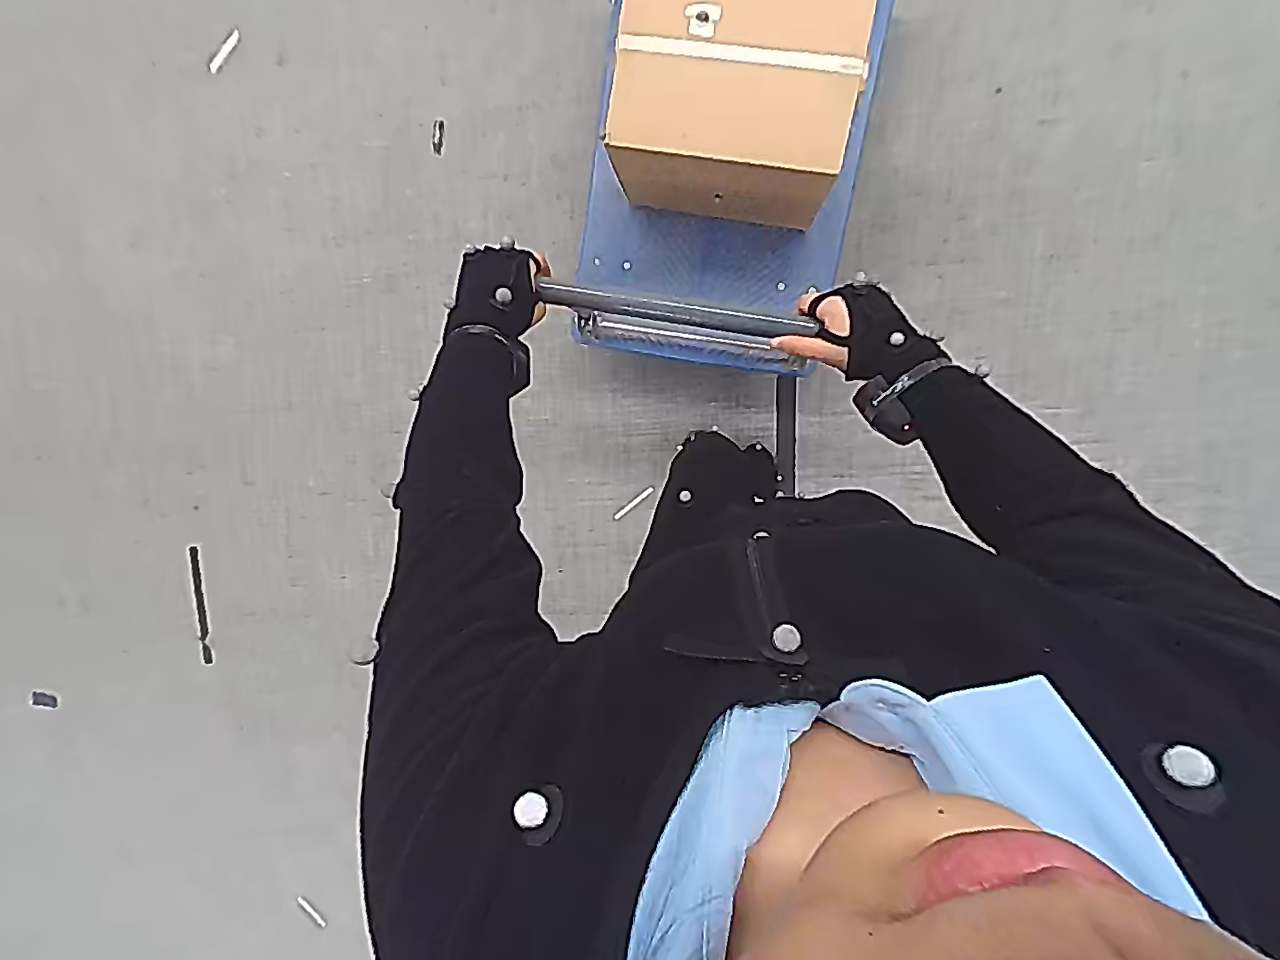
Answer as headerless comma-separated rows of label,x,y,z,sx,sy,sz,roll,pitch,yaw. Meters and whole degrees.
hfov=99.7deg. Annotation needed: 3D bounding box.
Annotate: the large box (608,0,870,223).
large box,0.182,-0.724,1.052,0.408,0.320,0.320,11,99,7
